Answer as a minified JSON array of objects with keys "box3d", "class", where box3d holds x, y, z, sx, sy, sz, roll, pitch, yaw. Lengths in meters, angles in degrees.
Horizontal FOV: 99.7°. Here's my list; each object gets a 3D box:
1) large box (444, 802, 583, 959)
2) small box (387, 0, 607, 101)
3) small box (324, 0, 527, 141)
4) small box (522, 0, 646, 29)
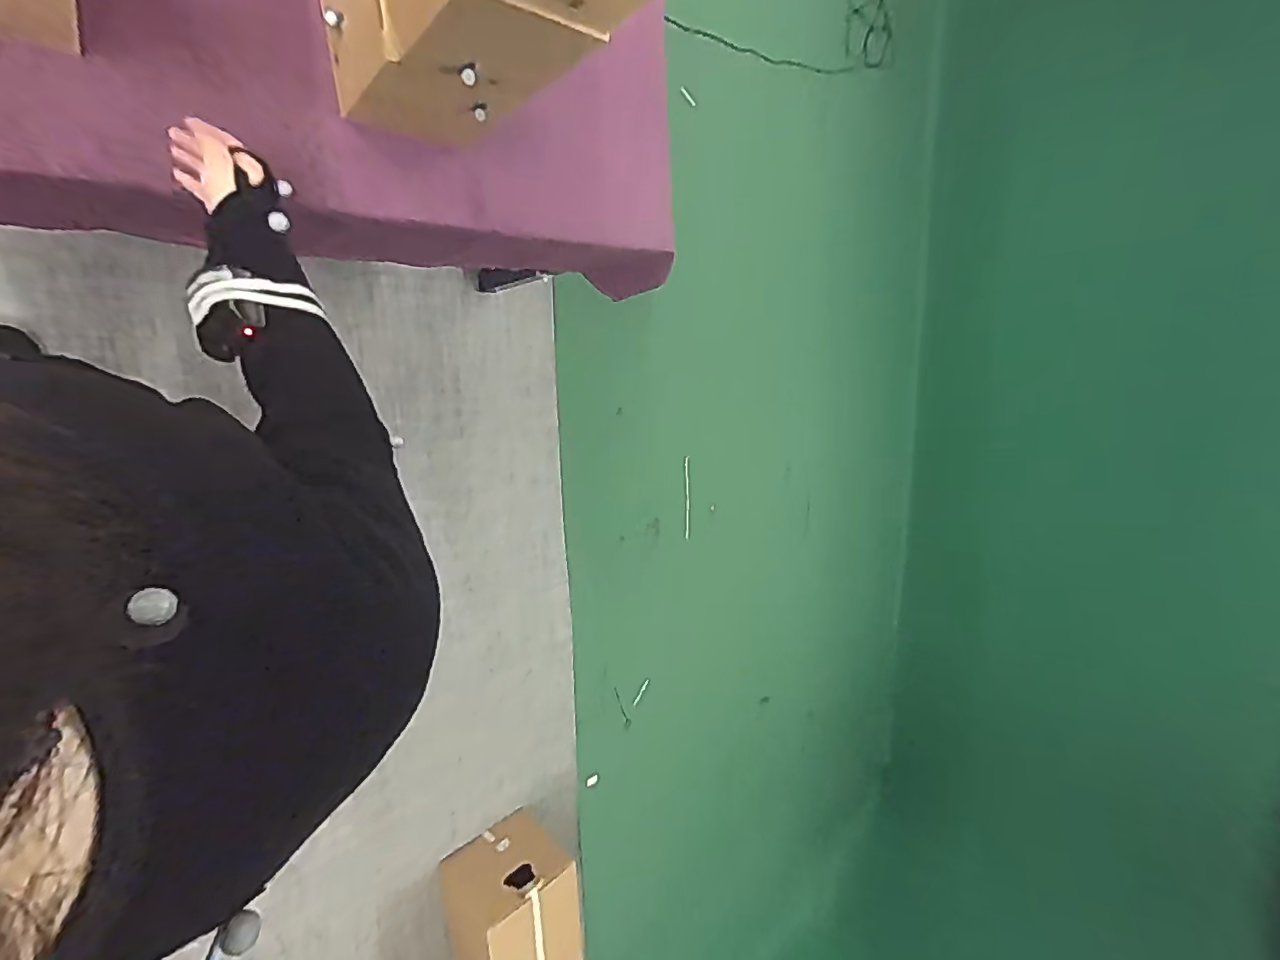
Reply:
[{"box3d":[-0.410,1.379,1.764,0.320,0.320,0.408,-13,107,-42],"class":"large box"},{"box3d":[-0.155,-0.533,0.554,0.168,0.176,0.179,-17,108,-40],"class":"small box"},{"box3d":[-0.266,-0.549,0.672,0.179,0.176,0.168,-16,107,-41],"class":"small box"},{"box3d":[-0.047,-0.521,0.433,0.168,0.176,0.179,-19,110,-40],"class":"small box"}]
